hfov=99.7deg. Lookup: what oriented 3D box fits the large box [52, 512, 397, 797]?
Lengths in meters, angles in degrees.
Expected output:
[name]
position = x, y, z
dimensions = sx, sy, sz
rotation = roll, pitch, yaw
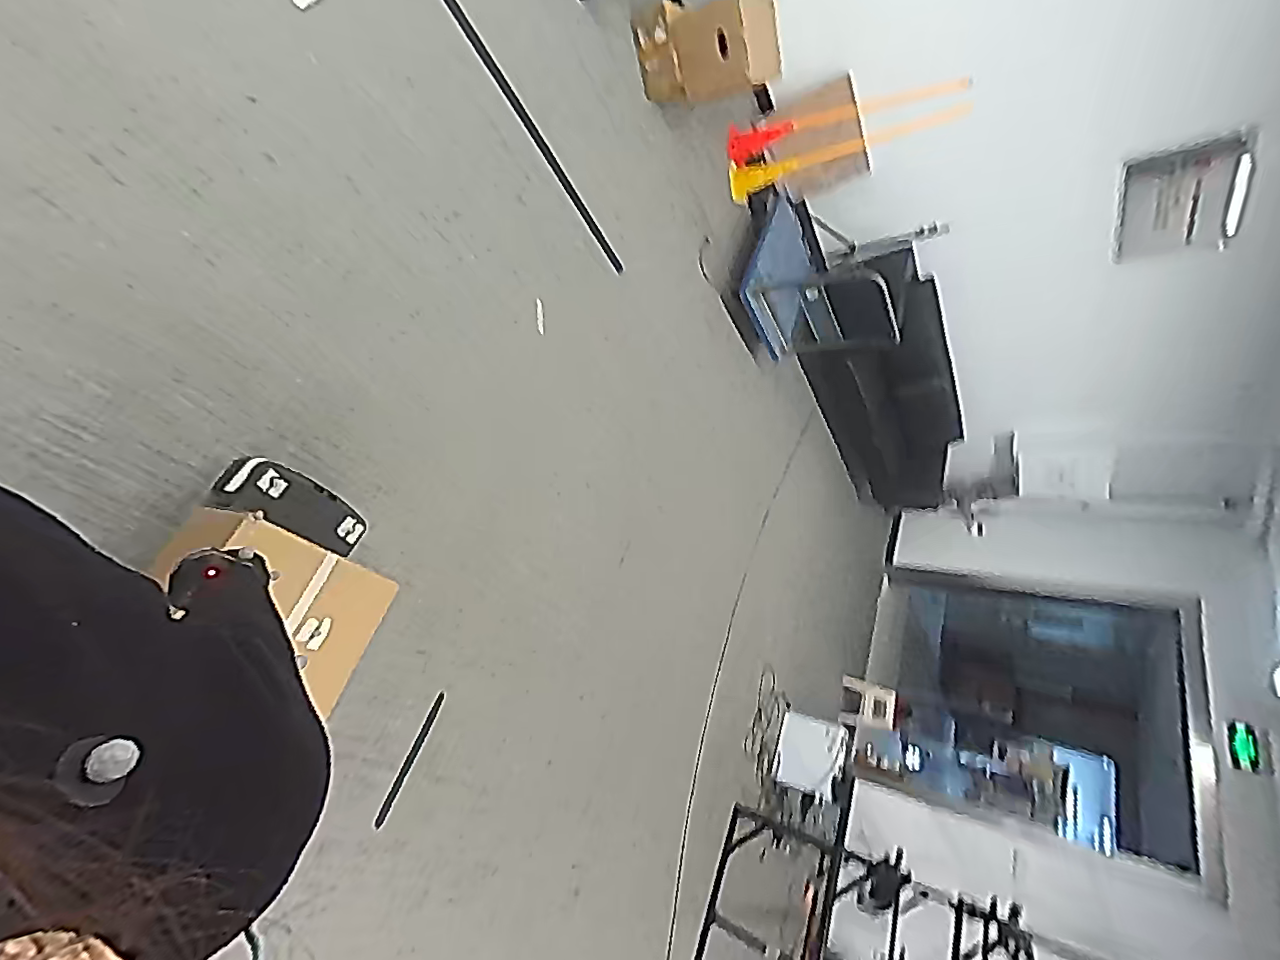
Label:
[large box]
position = -0.748, 0.307, 1.005
dimensions = 0.320, 0.320, 0.408
rotation = 46, 55, -43
